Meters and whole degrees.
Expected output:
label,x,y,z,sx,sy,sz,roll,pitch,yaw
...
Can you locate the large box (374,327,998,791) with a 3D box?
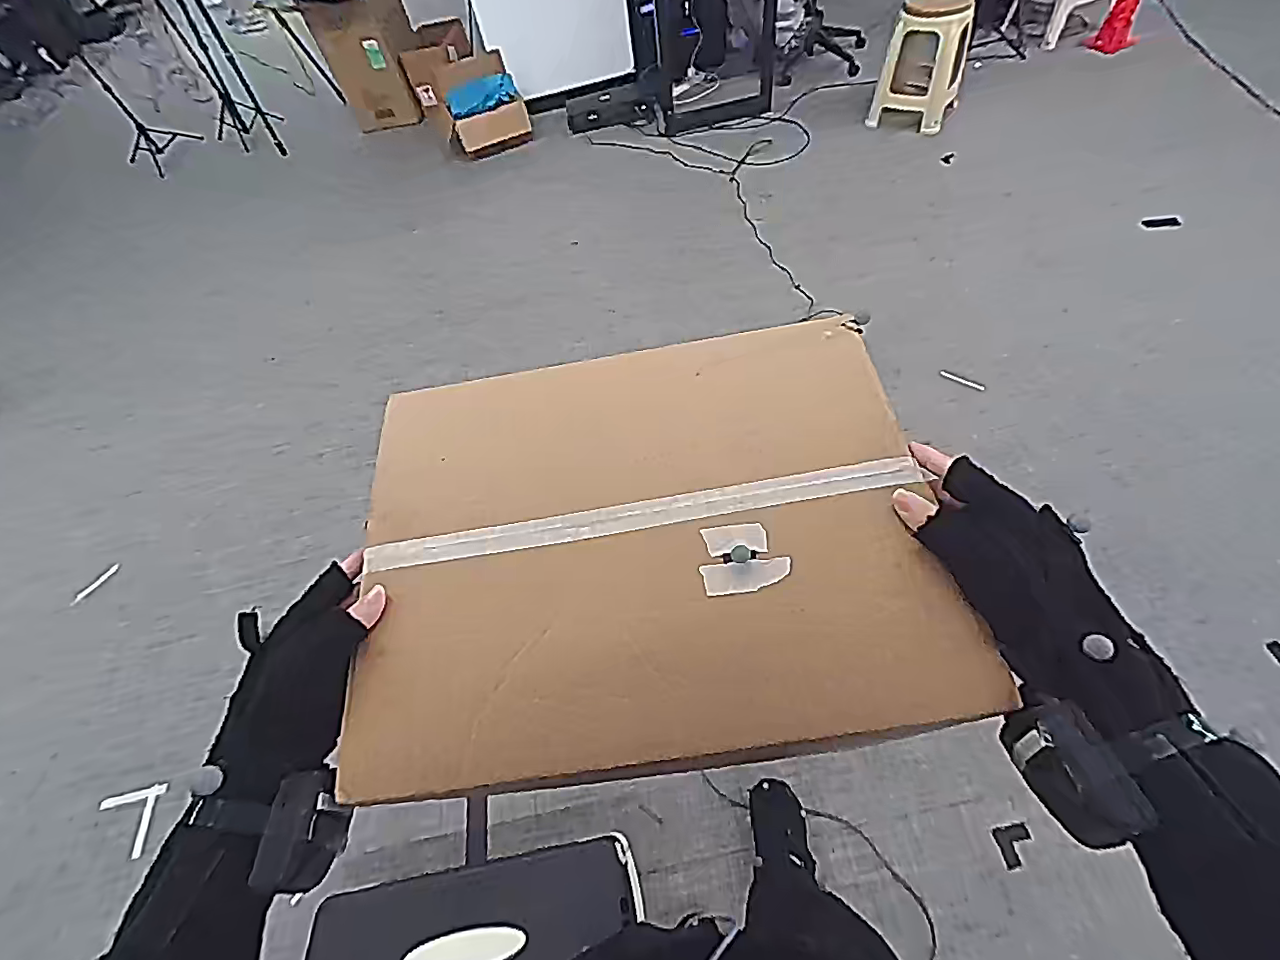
label,x,y,z,sx,sy,sz,roll,pitch,yaw
large box,0.021,0.102,0.536,0.408,0.320,0.320,-9,61,2
